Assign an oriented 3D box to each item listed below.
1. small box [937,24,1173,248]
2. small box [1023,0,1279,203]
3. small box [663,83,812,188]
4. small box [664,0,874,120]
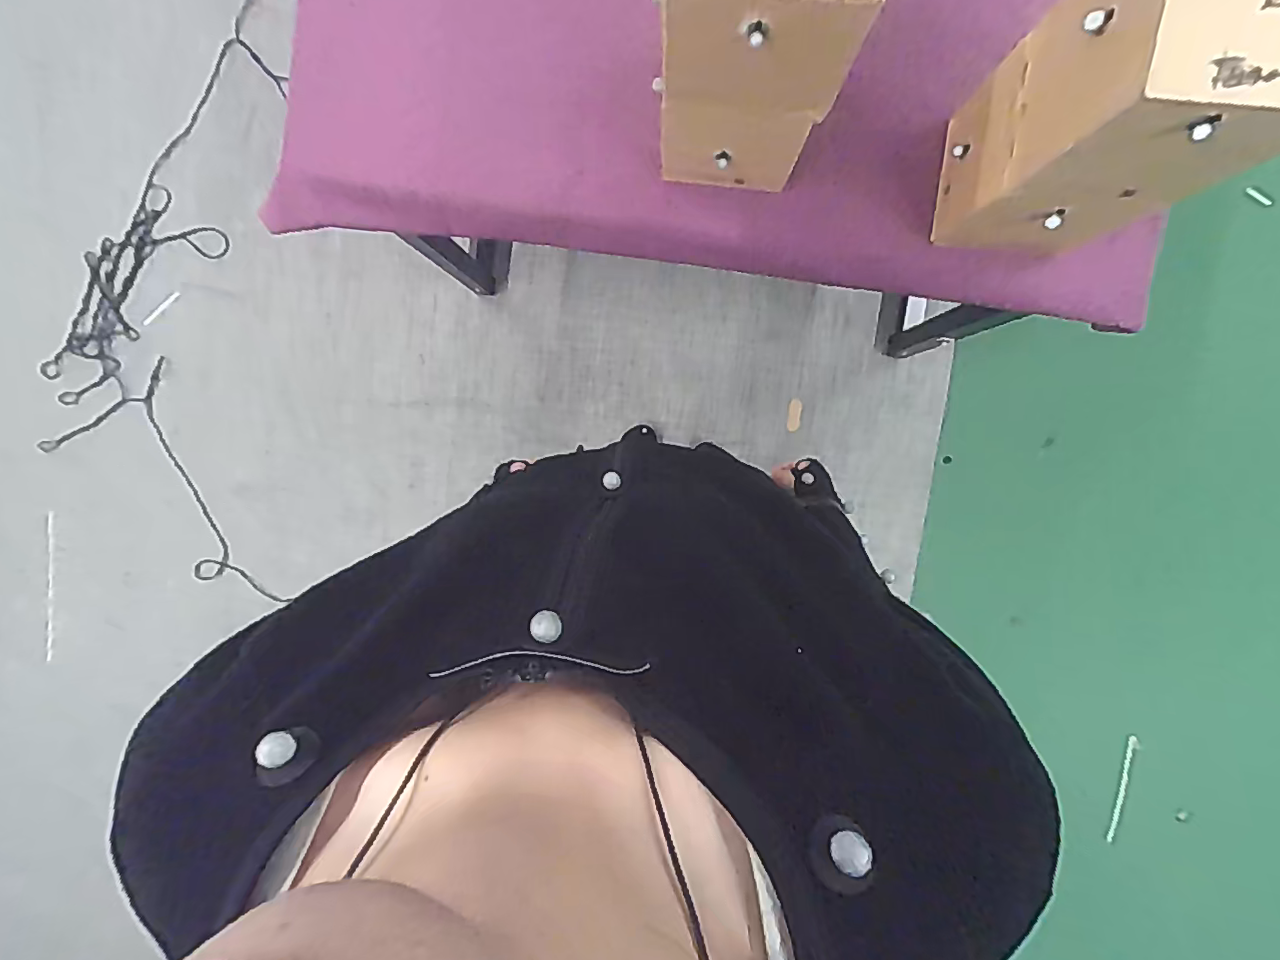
[{"bbox_3d":[0.490,-0.389,0.641,0.179,0.176,0.168,7,96,5],"label":"small box"},{"bbox_3d":[0.480,-0.376,0.478,0.168,0.176,0.179,7,95,5],"label":"small box"},{"bbox_3d":[0.123,-0.484,0.658,0.168,0.176,0.179,8,94,3],"label":"small box"},{"bbox_3d":[0.116,-0.466,0.497,0.179,0.176,0.168,8,95,3],"label":"small box"}]
